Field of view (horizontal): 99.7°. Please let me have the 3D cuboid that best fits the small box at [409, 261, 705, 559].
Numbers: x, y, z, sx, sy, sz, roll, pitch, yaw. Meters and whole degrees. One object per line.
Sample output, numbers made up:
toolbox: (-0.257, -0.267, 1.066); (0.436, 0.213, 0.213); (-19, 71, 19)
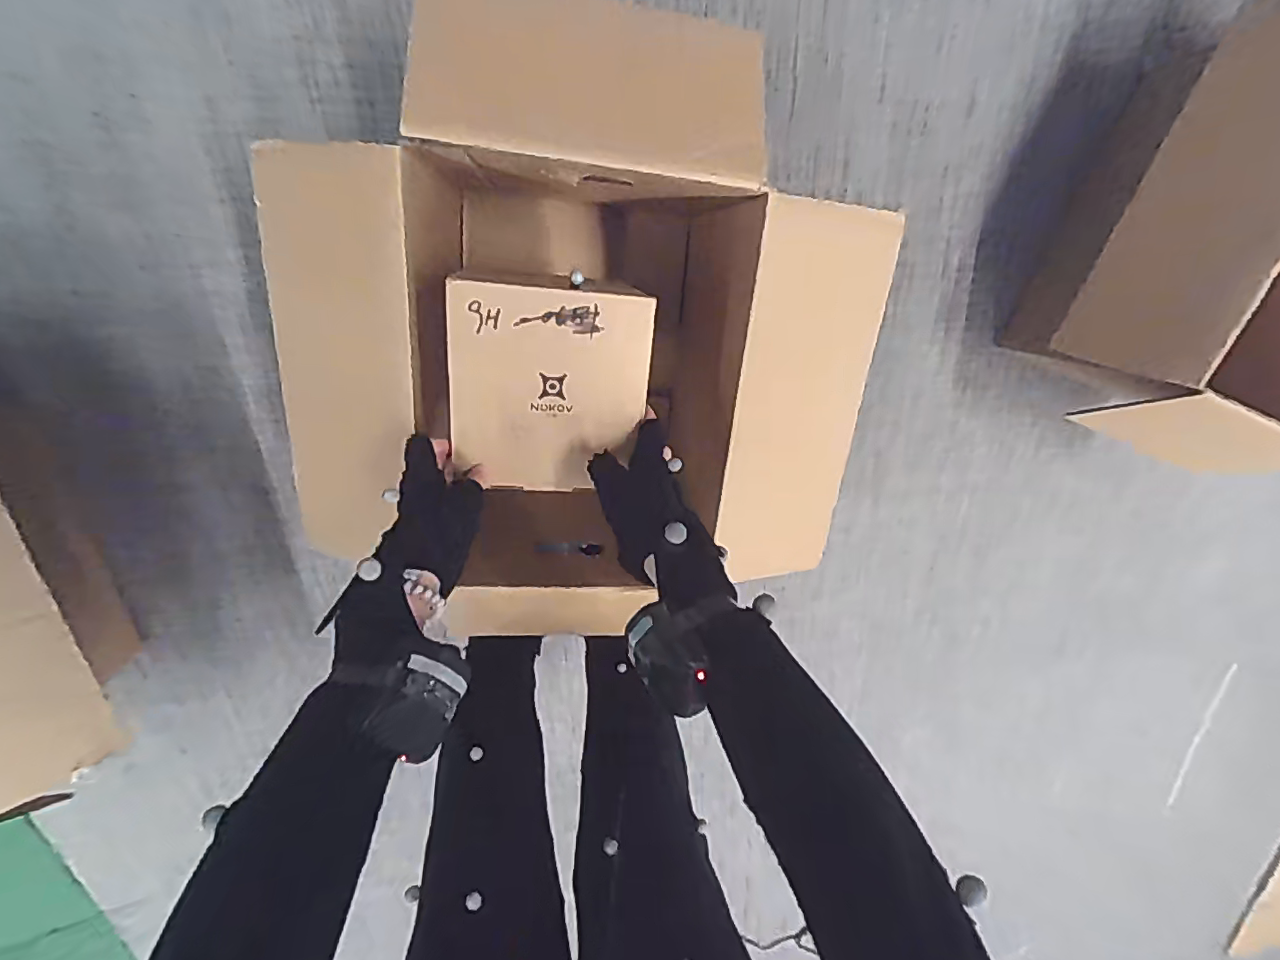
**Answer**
small box: (-0.081, -0.068, 0.489); (0.176, 0.168, 0.179); (44, 131, 10)
